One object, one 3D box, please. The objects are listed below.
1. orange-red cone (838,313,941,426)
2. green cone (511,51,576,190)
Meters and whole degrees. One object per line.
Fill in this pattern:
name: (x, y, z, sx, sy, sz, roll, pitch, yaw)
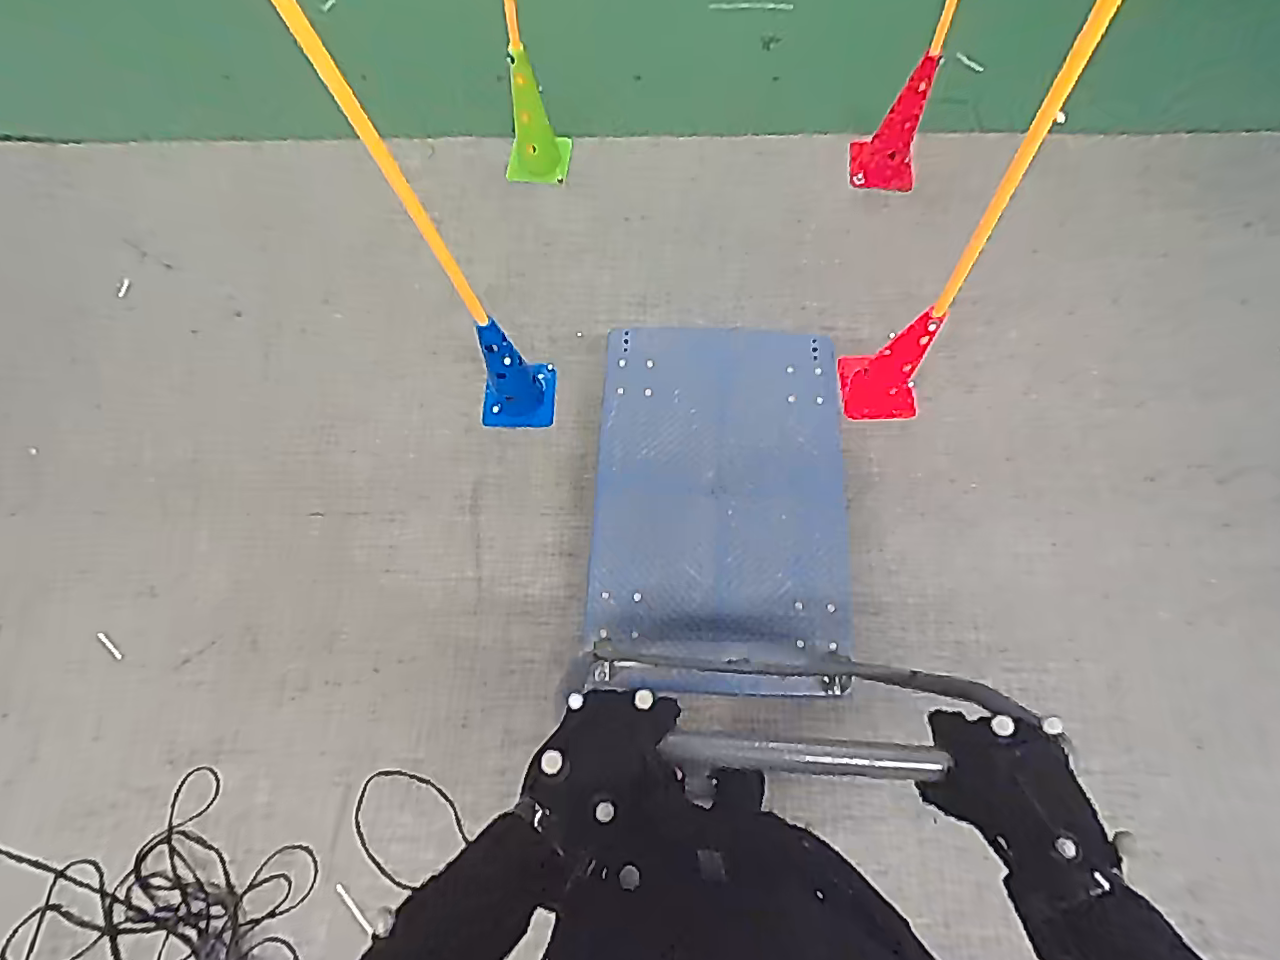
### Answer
orange-red cone: (0.665, -0.301, 1.380, 0.199, 0.360, 0.198, 0, 71, 3)
green cone: (-0.329, -1.120, 1.667, 0.202, 0.368, 0.200, 5, 71, 3)
